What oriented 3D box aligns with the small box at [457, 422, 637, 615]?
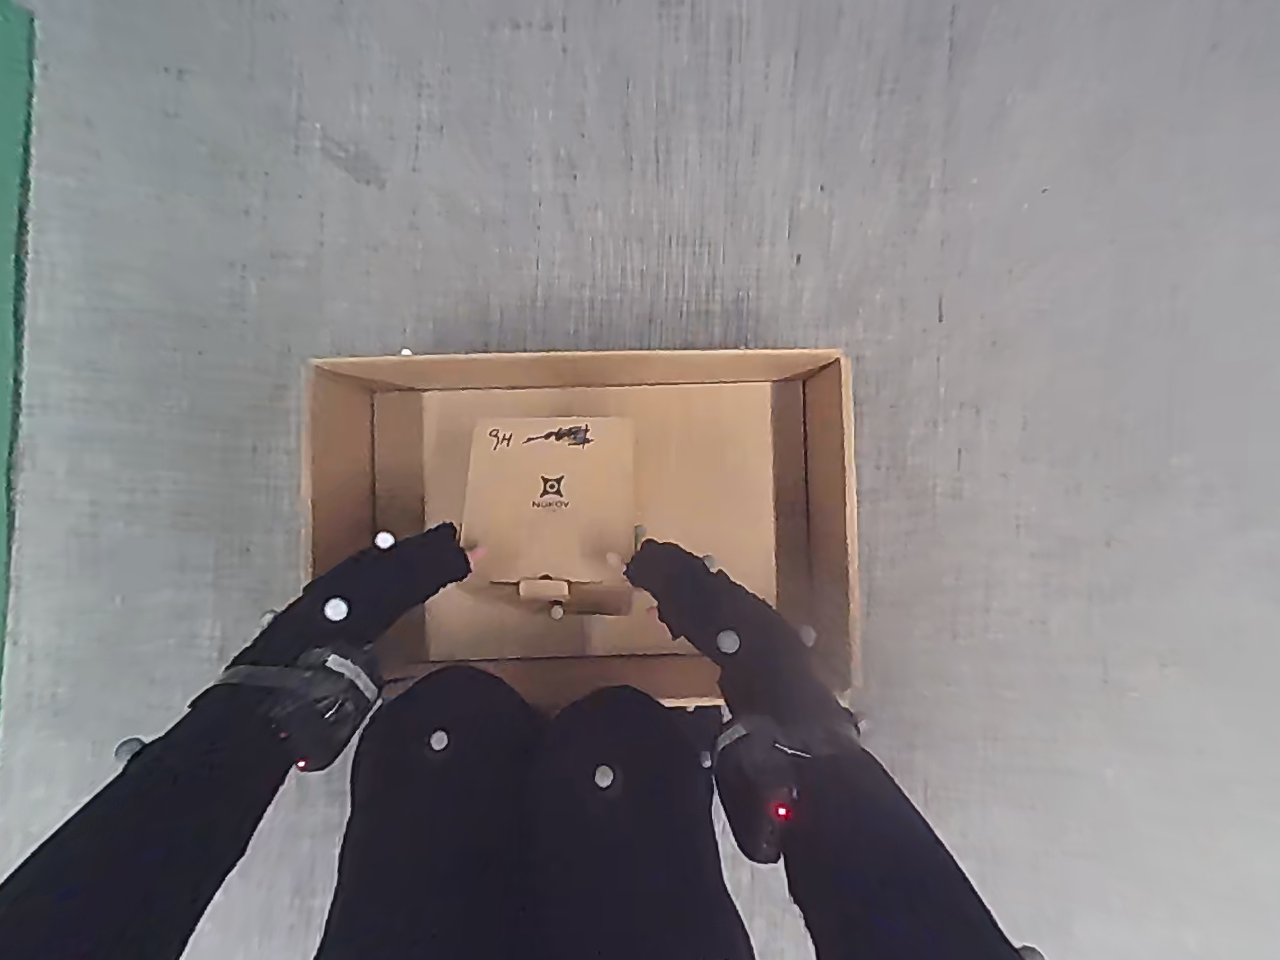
[{"bbox_3d":[-0.087,0.052,0.602,0.168,0.176,0.179,0,66,0],"label":"small box"}]
